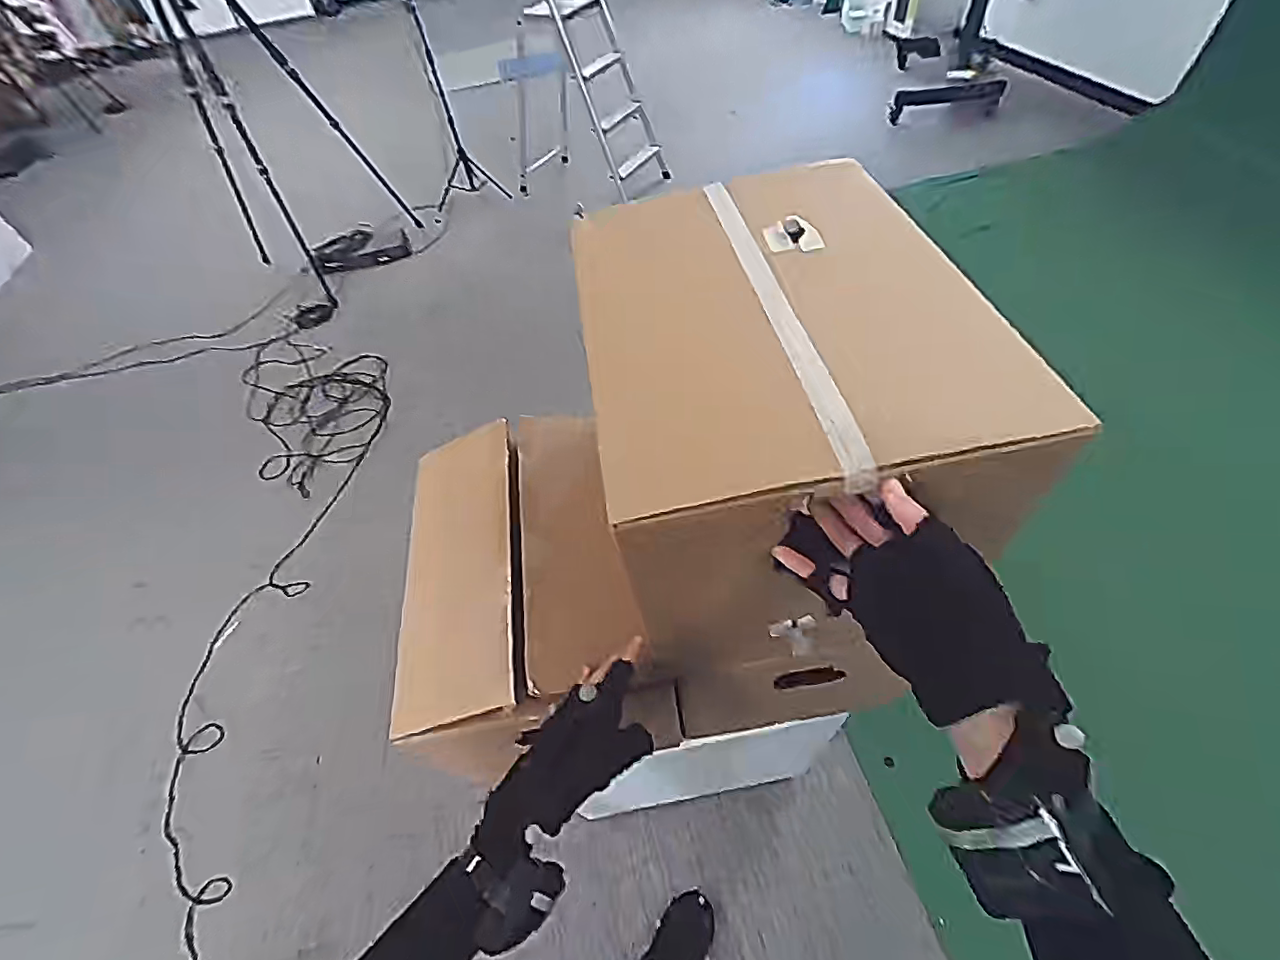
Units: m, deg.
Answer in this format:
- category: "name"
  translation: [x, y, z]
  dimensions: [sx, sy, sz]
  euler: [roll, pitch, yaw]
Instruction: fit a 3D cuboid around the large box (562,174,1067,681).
- category: "large box"
  translation: [0.116, -0.058, 0.579]
  dimensions: [0.320, 0.320, 0.408]
  euler: [-11, 50, 1]
